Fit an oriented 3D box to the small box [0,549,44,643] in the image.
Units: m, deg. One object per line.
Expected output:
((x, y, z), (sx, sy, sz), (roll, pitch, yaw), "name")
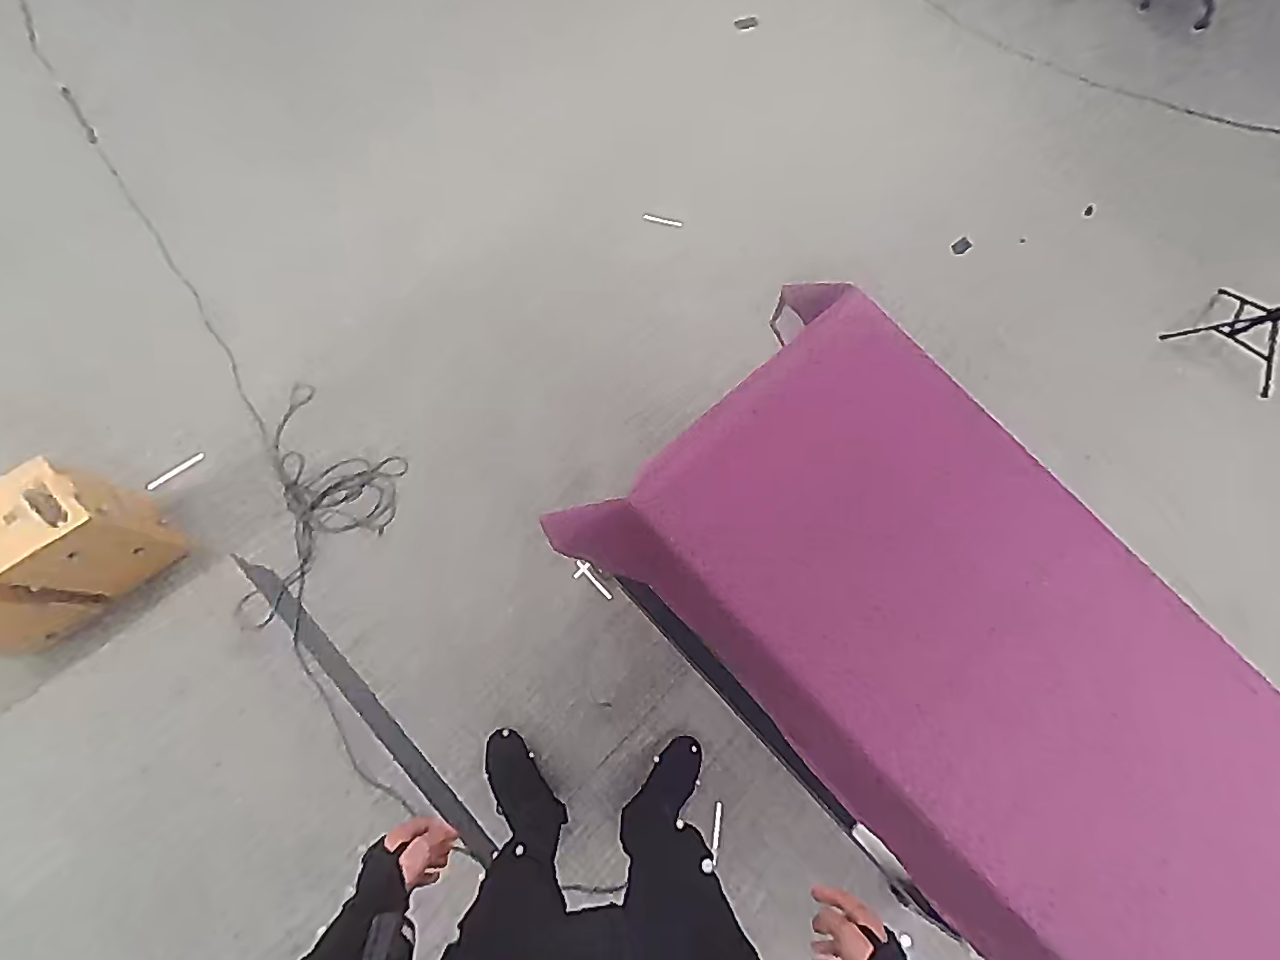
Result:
((-1.288, 0.230, 1.005), (0.179, 0.176, 0.168), (-37, 82, -16), "small box")
